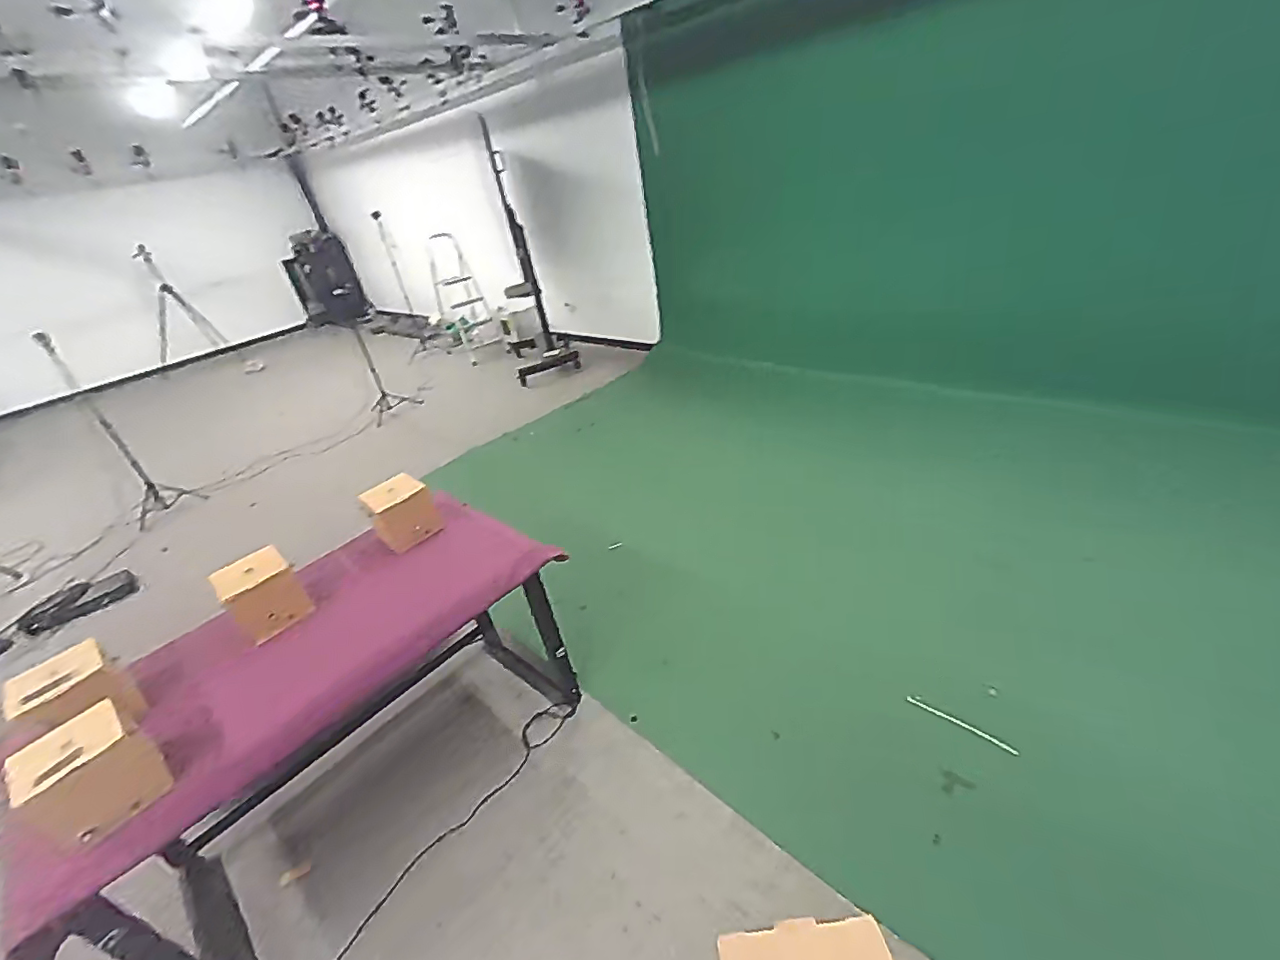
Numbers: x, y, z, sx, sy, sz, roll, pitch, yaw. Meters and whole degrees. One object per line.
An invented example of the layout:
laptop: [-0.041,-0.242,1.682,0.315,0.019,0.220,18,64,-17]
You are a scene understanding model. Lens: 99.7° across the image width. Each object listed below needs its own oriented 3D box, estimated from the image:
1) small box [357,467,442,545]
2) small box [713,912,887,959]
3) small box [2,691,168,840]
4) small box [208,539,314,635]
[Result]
small box: [-0.779,0.085,1.759,0.179,0.176,0.168,22,46,40]
small box: [0.163,0.556,0.504,0.168,0.176,0.179,-6,24,-2]
small box: [-1.087,0.566,1.069,0.179,0.176,0.168,14,38,37]
small box: [-1.050,0.297,1.502,0.179,0.176,0.168,21,43,39]
